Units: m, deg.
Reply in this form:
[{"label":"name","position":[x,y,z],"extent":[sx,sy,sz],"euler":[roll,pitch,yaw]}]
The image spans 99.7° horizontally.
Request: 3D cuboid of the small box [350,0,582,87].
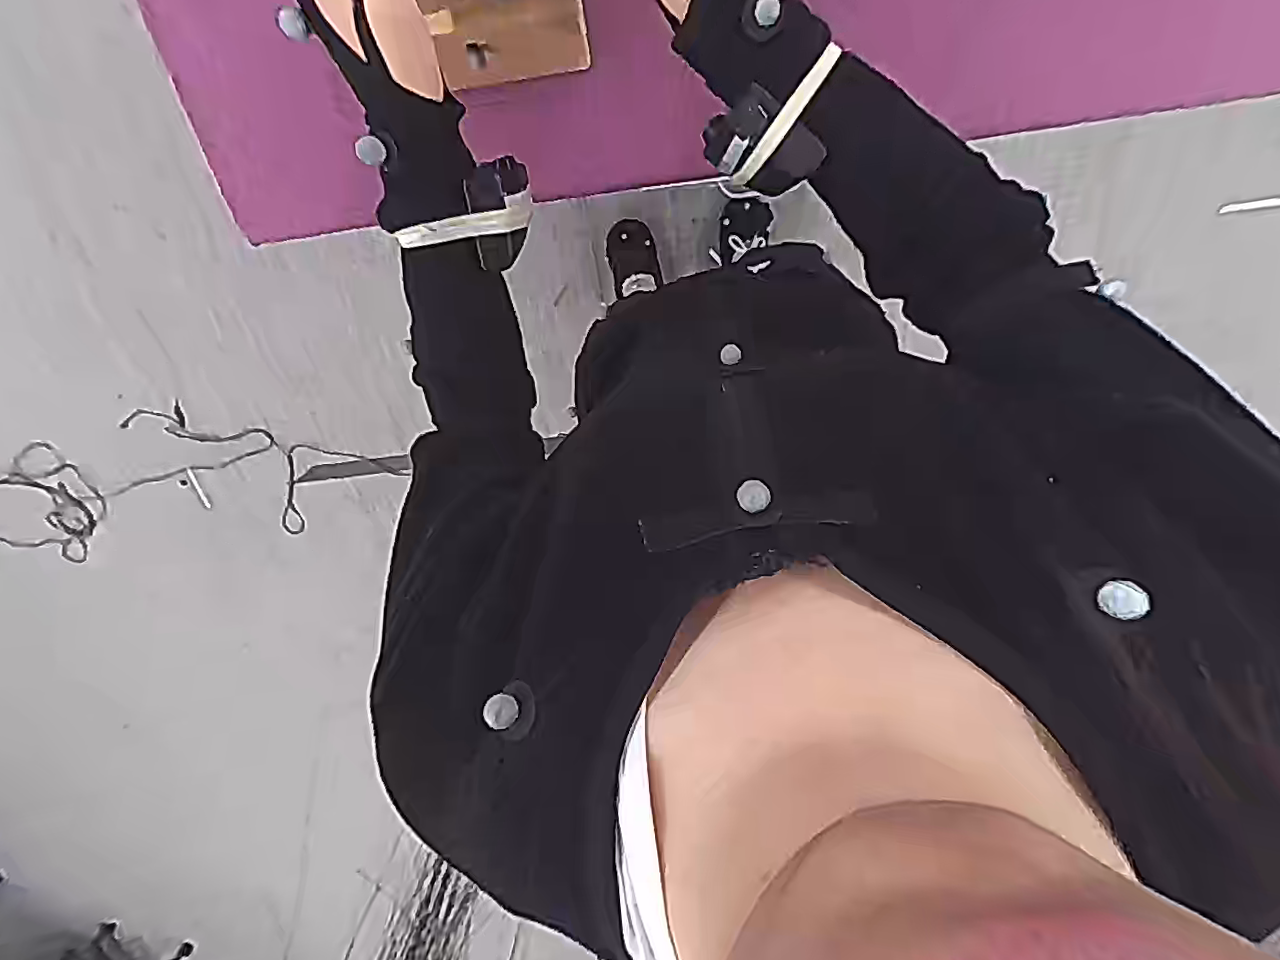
[{"label":"small box","position":[-0.148,-0.463,0.465],"extent":[0.179,0.176,0.168],"euler":[-7,116,3]}]
